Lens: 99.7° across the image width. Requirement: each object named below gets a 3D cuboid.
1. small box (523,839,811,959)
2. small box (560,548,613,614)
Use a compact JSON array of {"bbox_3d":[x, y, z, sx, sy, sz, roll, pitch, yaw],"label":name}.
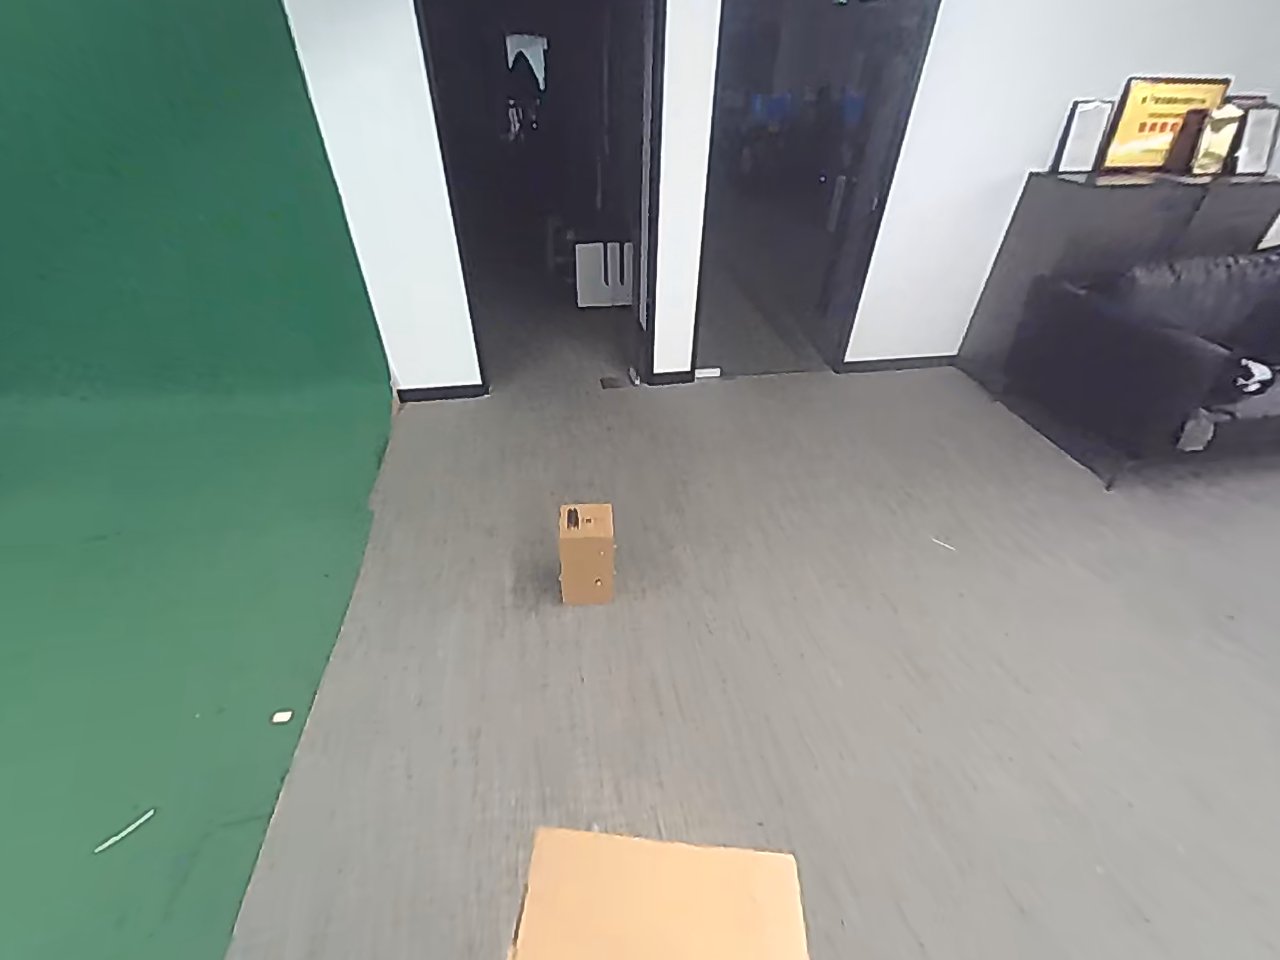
[{"bbox_3d":[0.009,0.361,0.352,0.179,0.176,0.168,6,40,0],"label":"small box"},{"bbox_3d":[-0.186,0.358,1.916,0.179,0.176,0.168,-1,37,-3],"label":"small box"}]
